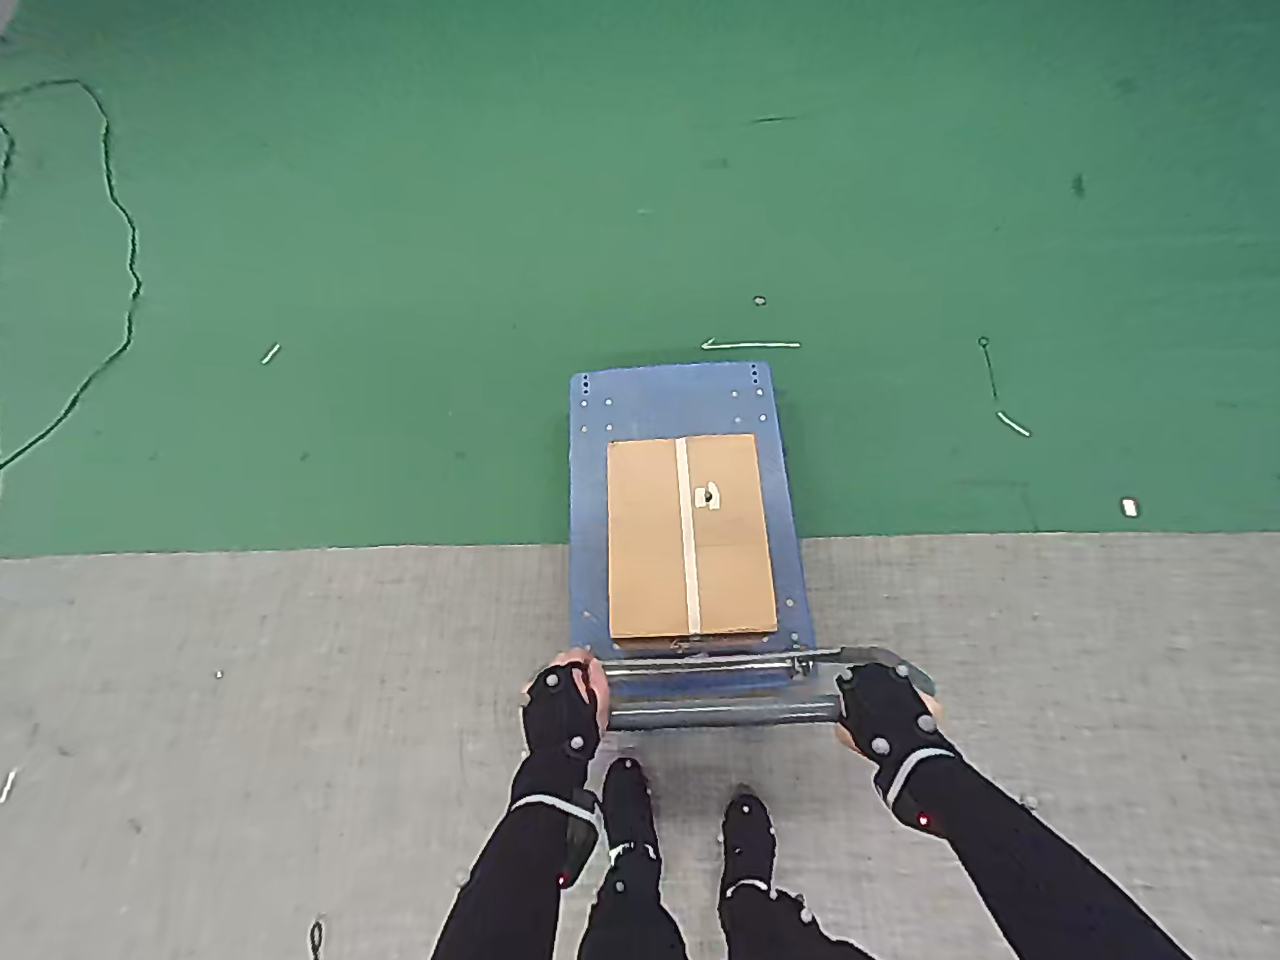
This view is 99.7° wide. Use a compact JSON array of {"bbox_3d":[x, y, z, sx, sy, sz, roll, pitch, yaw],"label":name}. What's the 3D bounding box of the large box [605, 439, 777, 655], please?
[{"bbox_3d":[0.100,0.163,1.205,0.320,0.320,0.408,-3,68,2],"label":"large box"}]
